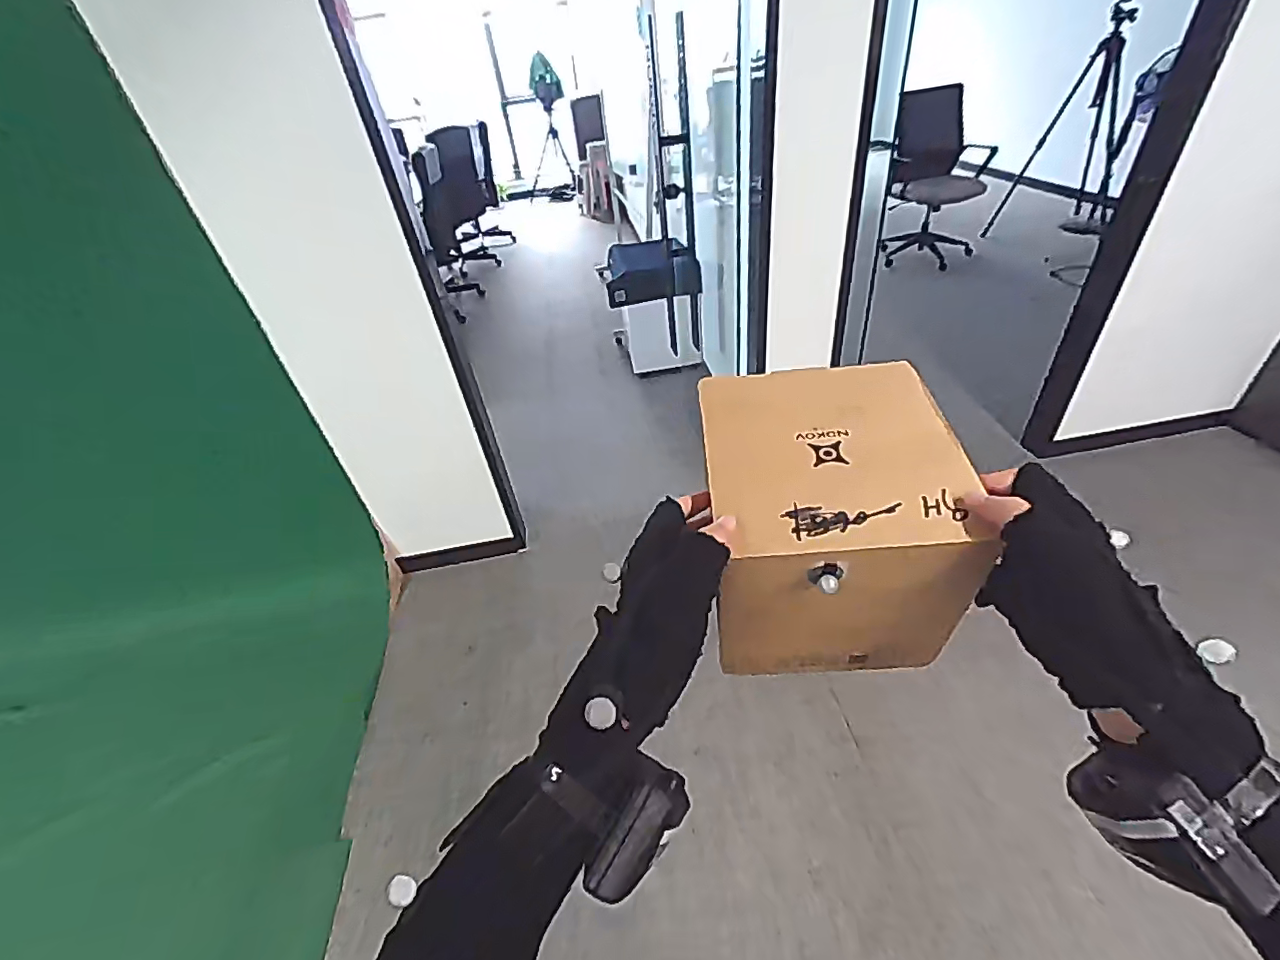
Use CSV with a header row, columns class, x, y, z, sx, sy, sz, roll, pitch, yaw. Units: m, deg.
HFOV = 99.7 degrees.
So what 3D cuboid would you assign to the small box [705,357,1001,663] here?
class,x,y,z,sx,sy,sz,roll,pitch,yaw
small box,0.139,0.026,0.432,0.168,0.176,0.179,-5,46,7
